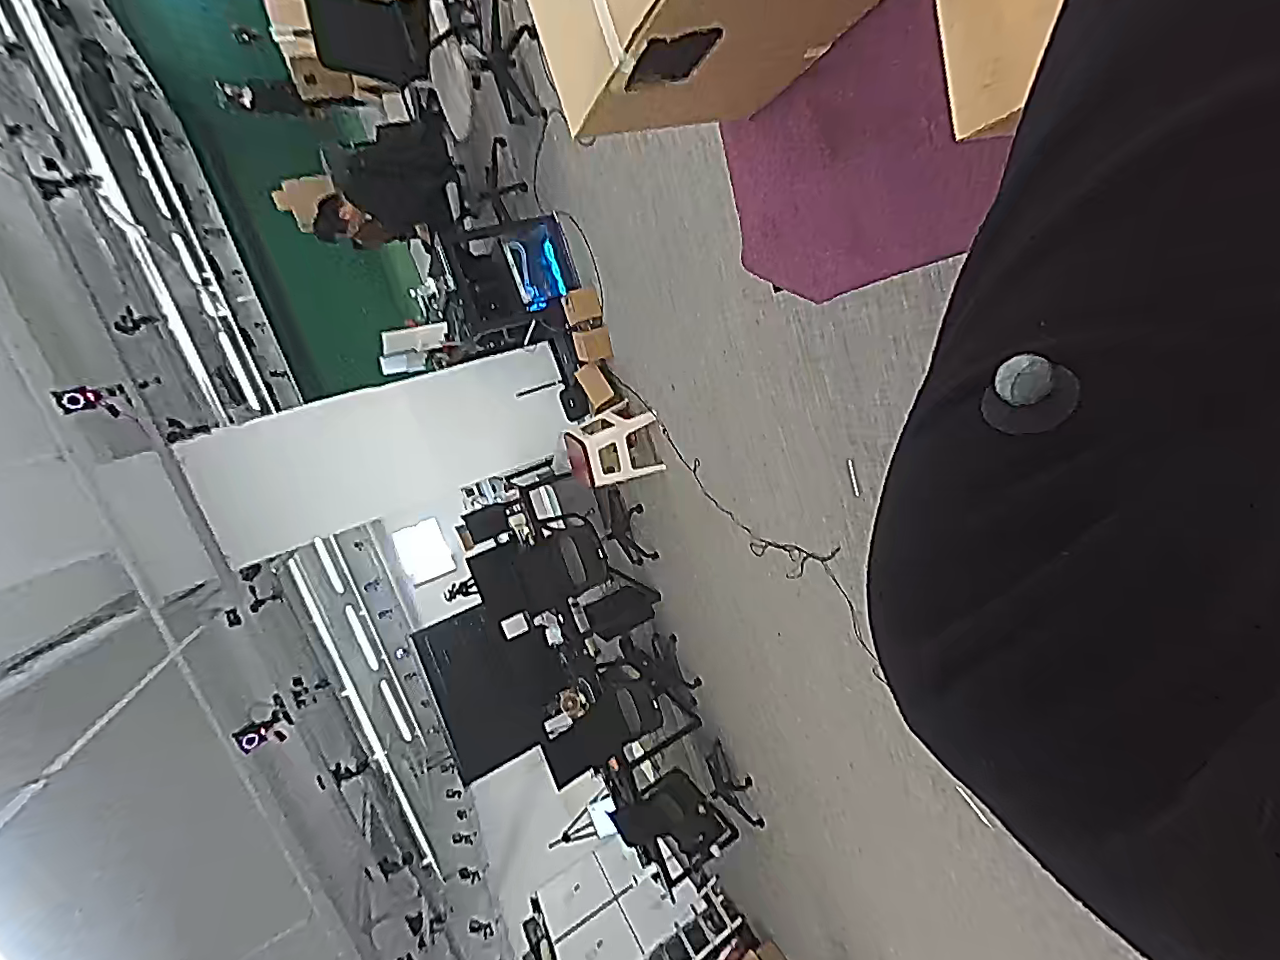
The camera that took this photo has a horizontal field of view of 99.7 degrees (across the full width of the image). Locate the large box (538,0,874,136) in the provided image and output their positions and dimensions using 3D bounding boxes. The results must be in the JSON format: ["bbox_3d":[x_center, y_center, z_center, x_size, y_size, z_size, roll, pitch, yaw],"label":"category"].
[{"bbox_3d":[0.053,-0.678,0.584,0.320,0.320,0.408,3,117,65],"label":"large box"}]
